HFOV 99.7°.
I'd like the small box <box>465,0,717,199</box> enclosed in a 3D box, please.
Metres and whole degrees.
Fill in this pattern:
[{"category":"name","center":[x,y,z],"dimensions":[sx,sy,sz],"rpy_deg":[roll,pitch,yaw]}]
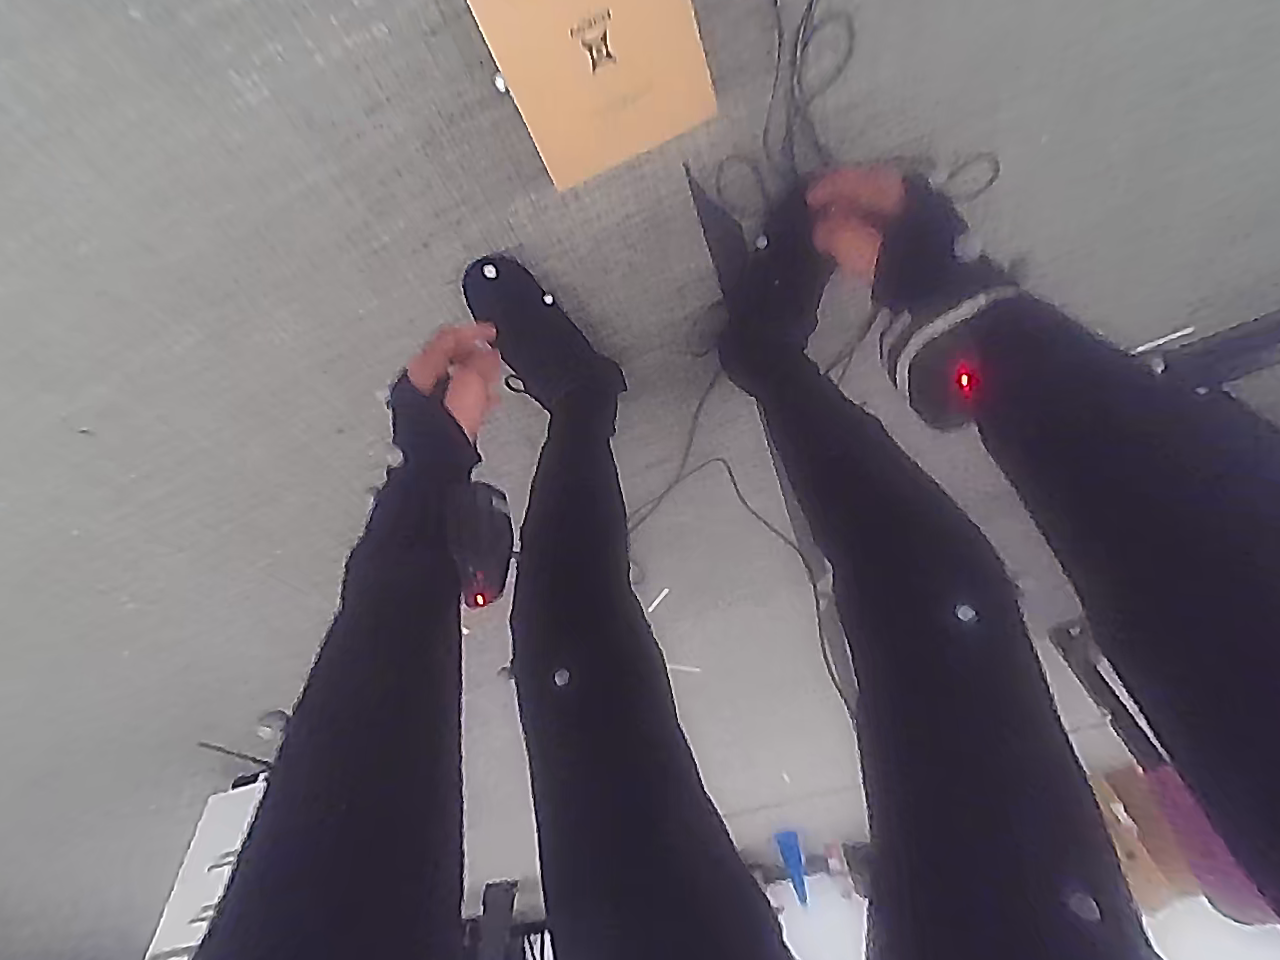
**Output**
[{"category":"small box","center":[-0.044,-0.404,0.501],"dimensions":[0.168,0.176,0.179],"rpy_deg":[-19,134,11]}]
